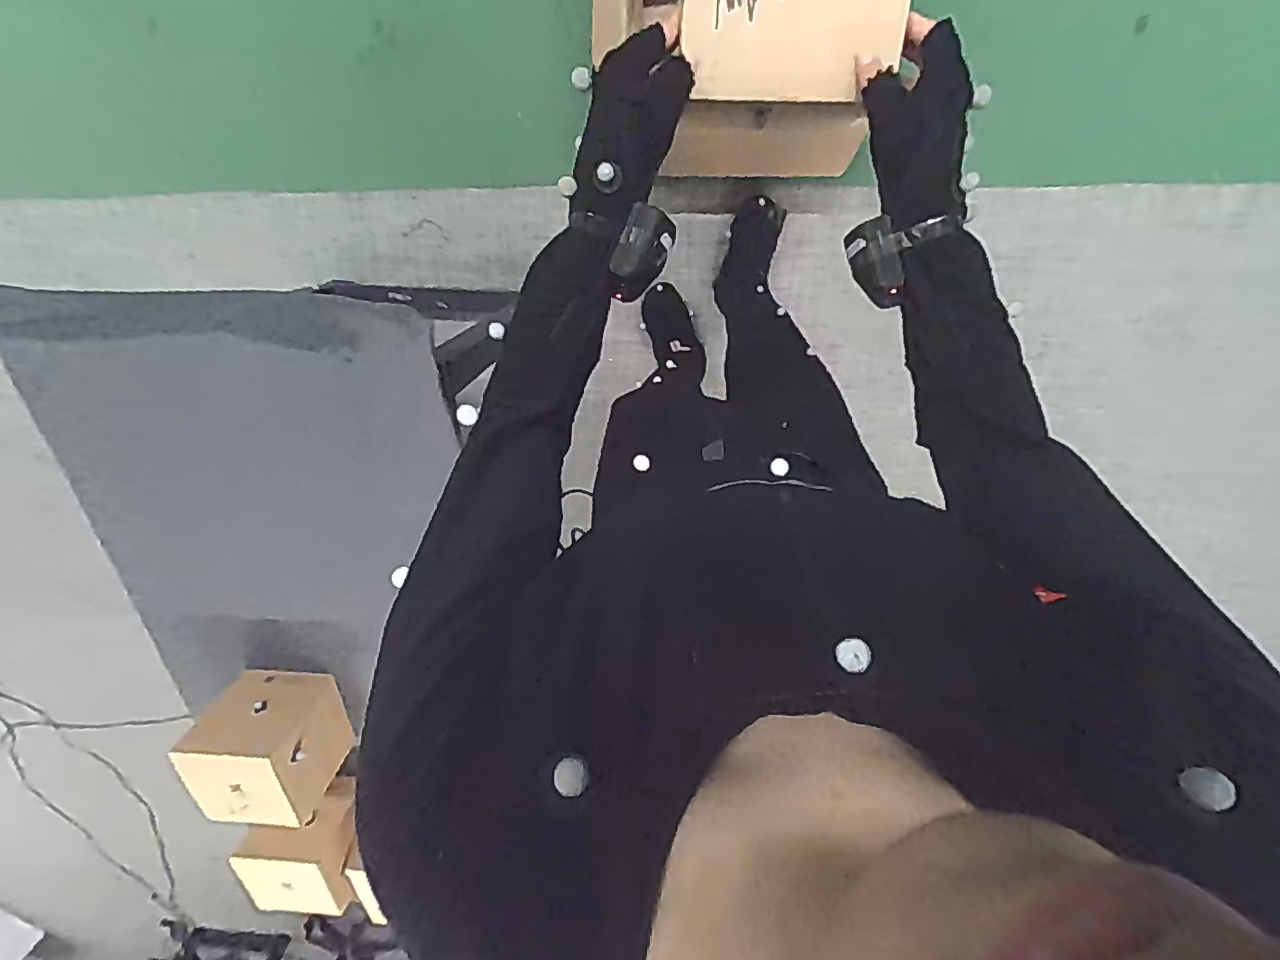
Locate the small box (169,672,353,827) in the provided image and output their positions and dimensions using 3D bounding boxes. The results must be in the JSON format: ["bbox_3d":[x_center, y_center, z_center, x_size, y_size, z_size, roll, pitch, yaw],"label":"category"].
[{"bbox_3d":[-0.625,0.450,0.919,0.168,0.176,0.179,2,117,5],"label":"small box"}]

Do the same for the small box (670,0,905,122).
[{"bbox_3d":[0.117,-0.420,0.468,0.179,0.176,0.168,2,116,2],"label":"small box"}]

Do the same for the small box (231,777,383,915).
[{"bbox_3d":[-0.634,0.703,1.054,0.168,0.176,0.179,1,118,4],"label":"small box"}]
